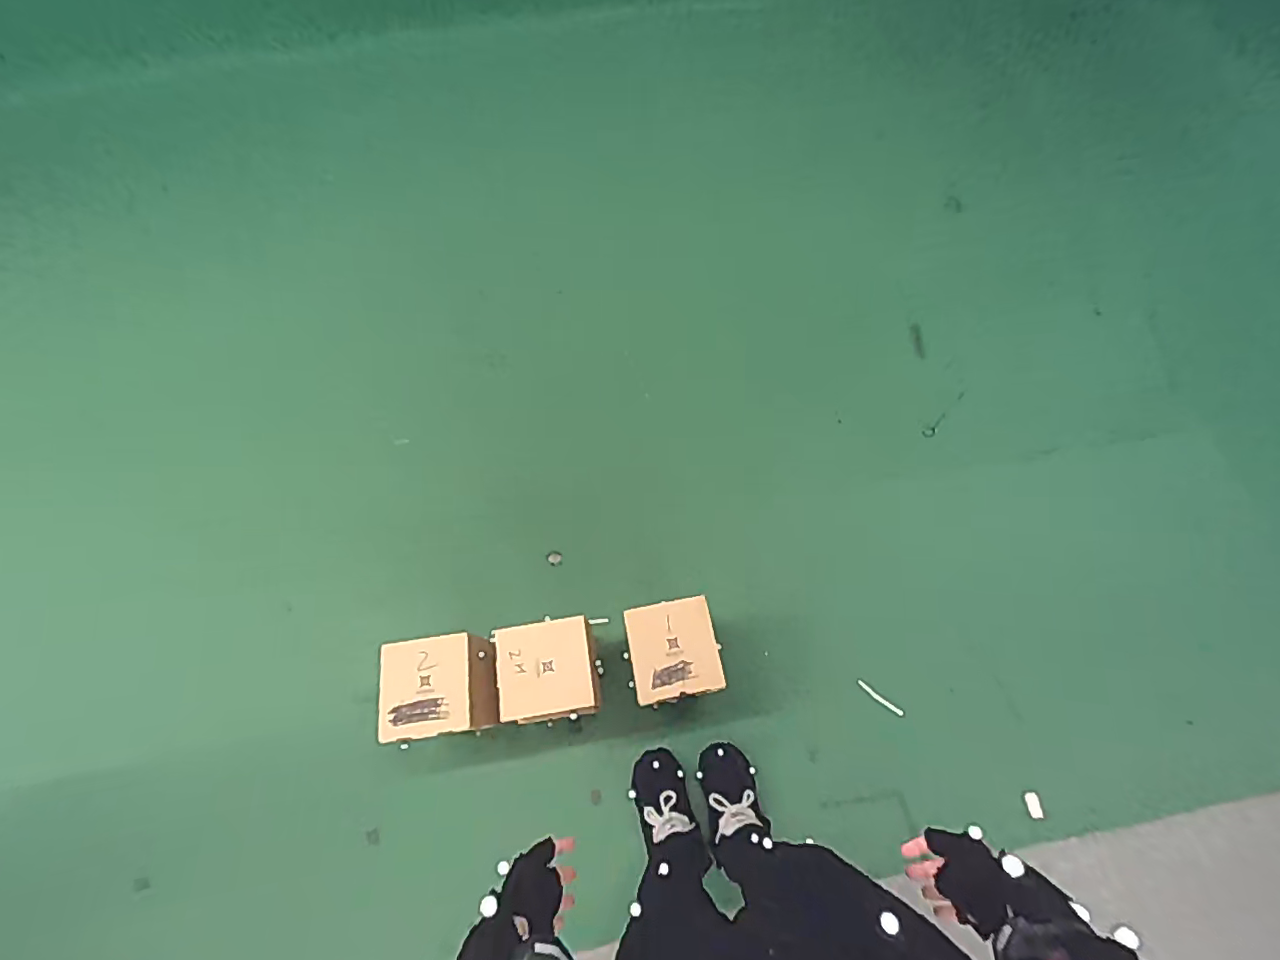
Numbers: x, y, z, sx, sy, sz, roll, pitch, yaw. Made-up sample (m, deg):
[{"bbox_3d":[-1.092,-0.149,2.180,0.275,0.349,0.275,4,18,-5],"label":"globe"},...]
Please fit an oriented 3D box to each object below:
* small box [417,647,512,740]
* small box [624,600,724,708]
[{"bbox_3d":[-0.393,0.485,1.236,0.168,0.176,0.179,-6,68,-1],"label":"small box"},{"bbox_3d":[0.065,0.355,1.103,0.168,0.176,0.179,-10,68,-4],"label":"small box"}]
